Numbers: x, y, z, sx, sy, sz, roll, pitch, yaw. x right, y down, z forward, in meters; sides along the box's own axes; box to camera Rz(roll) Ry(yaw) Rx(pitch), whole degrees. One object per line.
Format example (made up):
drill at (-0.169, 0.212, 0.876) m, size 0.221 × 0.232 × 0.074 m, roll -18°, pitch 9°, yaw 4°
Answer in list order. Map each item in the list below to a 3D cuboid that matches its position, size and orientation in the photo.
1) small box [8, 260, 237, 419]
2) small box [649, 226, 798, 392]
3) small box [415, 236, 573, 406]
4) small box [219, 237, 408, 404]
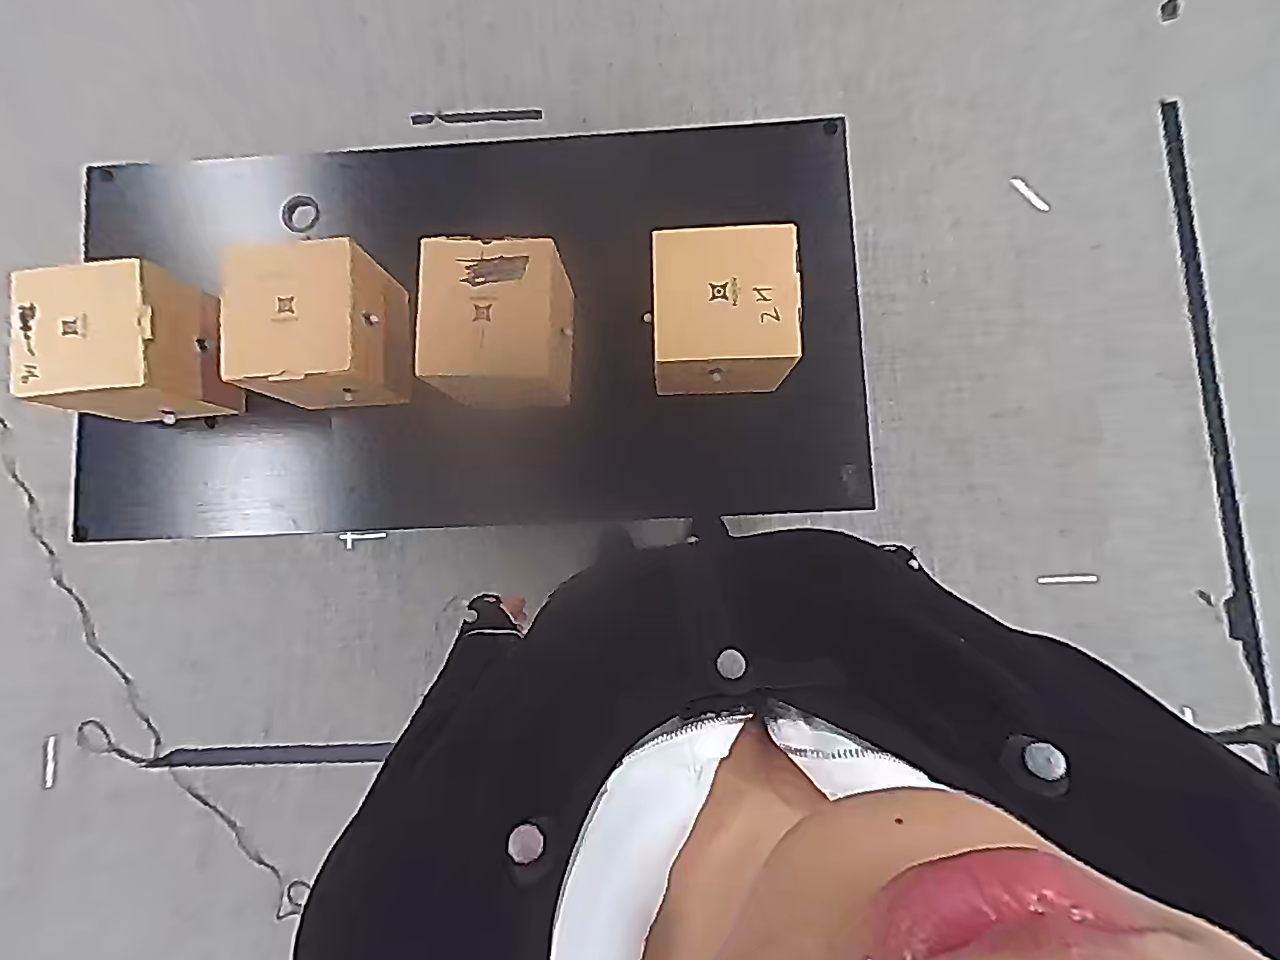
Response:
small box at (-0.698, -0.184, 0.752) m, size 0.179 × 0.176 × 0.168 m, roll -5°, pitch 85°, yaw 0°
small box at (0.104, -0.218, 0.729) m, size 0.179 × 0.176 × 0.168 m, roll -1°, pitch 85°, yaw 2°
small box at (-0.187, -0.206, 0.738) m, size 0.168 × 0.176 × 0.179 m, roll 1°, pitch 86°, yaw 2°
small box at (-0.436, -0.207, 0.748) m, size 0.168 × 0.176 × 0.179 m, roll -4°, pitch 84°, yaw 1°
